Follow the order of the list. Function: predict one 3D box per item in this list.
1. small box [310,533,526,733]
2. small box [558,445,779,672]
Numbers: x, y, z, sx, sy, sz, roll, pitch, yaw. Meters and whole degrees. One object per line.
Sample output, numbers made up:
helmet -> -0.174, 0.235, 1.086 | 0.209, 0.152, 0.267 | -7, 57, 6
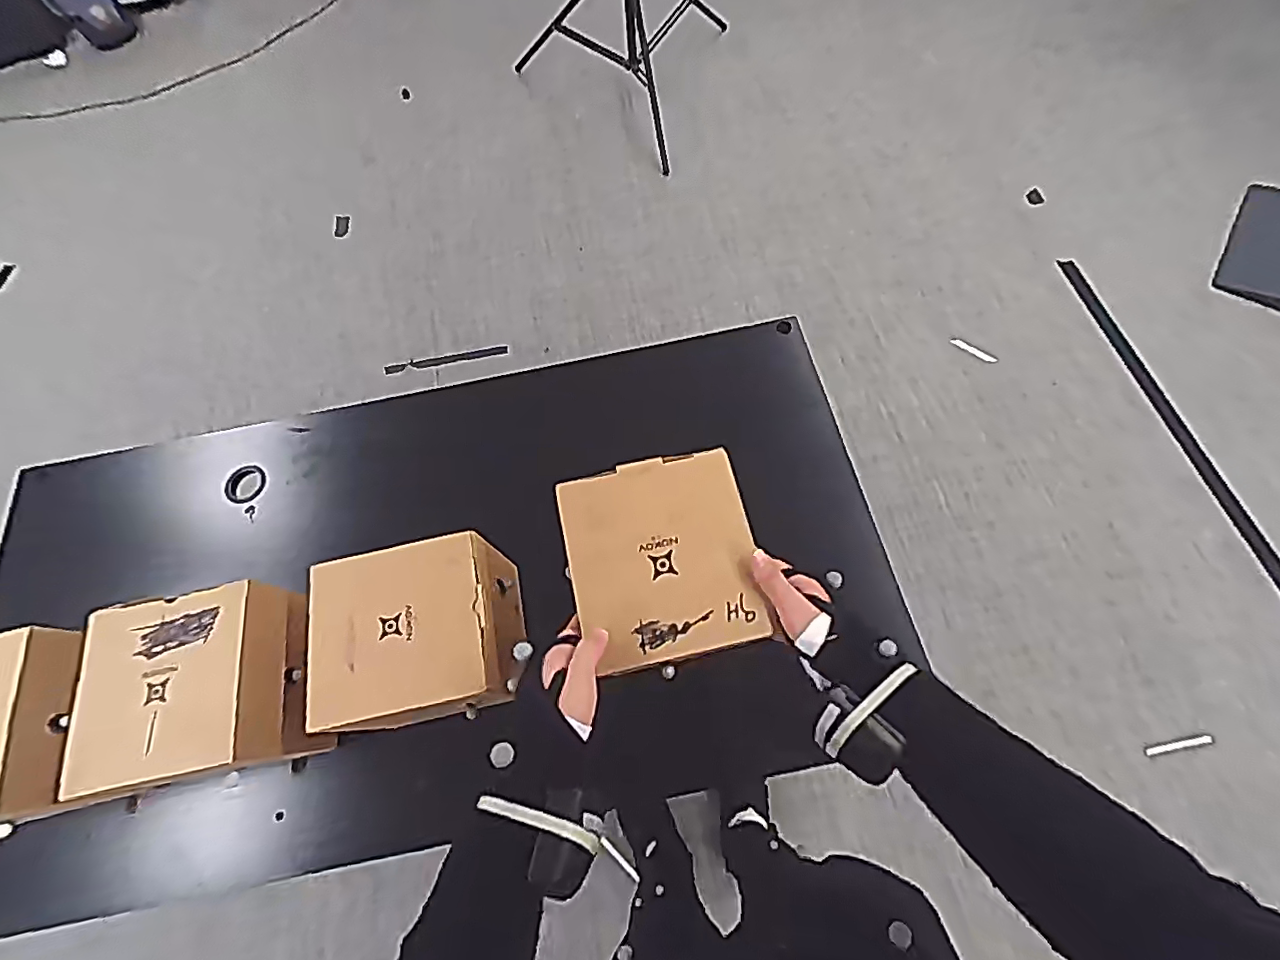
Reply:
small box -> -0.236, 0.176, 0.612 | 0.179, 0.176, 0.168 | -14, 66, -1
small box -> 0.022, 0.089, 0.548 | 0.168, 0.176, 0.179 | -13, 71, -2
